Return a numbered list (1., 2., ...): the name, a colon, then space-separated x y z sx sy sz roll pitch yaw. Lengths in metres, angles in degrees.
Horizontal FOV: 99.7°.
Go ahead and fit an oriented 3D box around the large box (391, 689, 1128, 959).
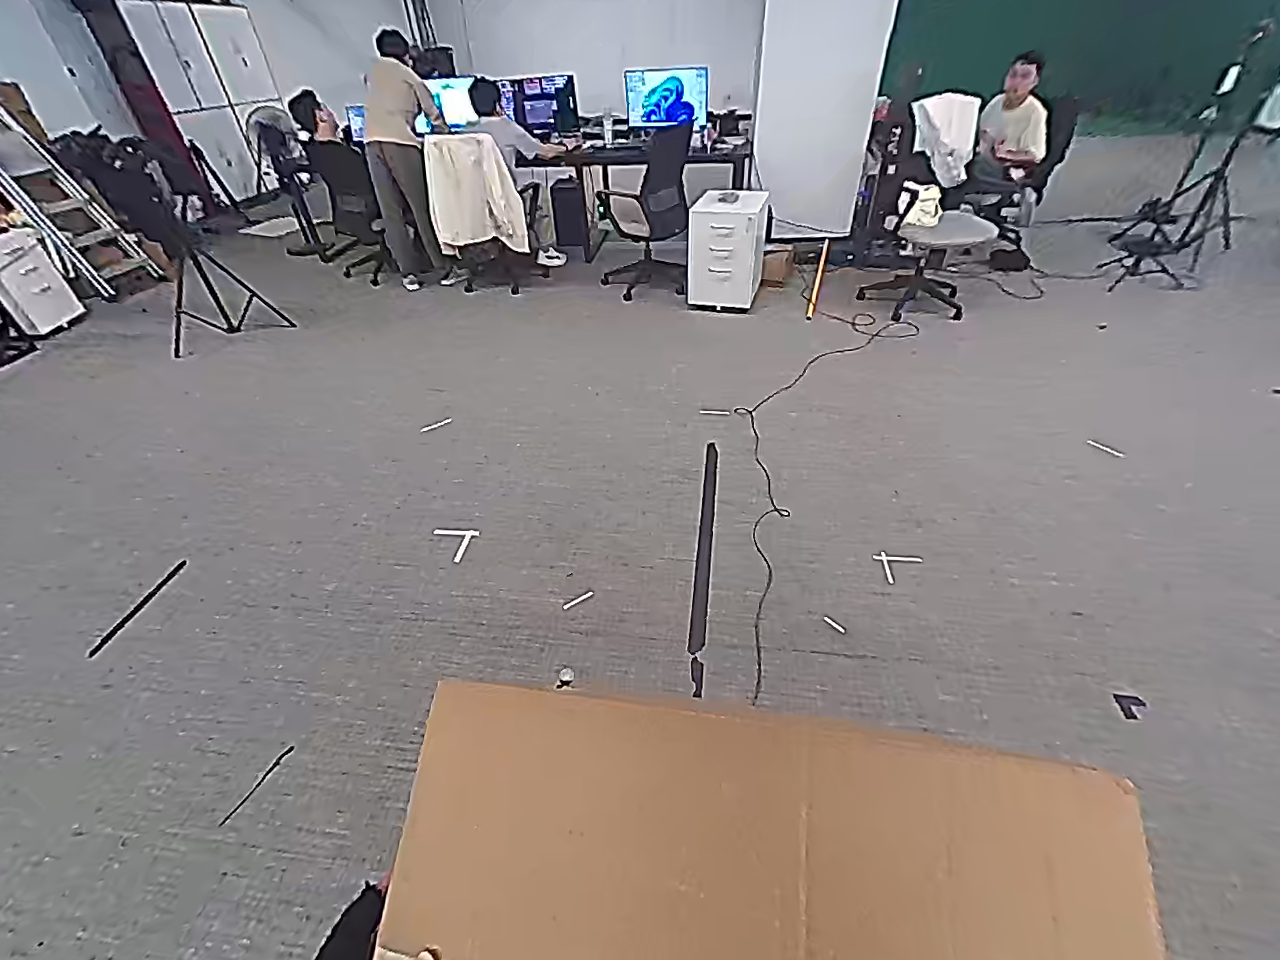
1. large box: 0.066 0.351 0.423 0.408 0.320 0.320 3 70 11
